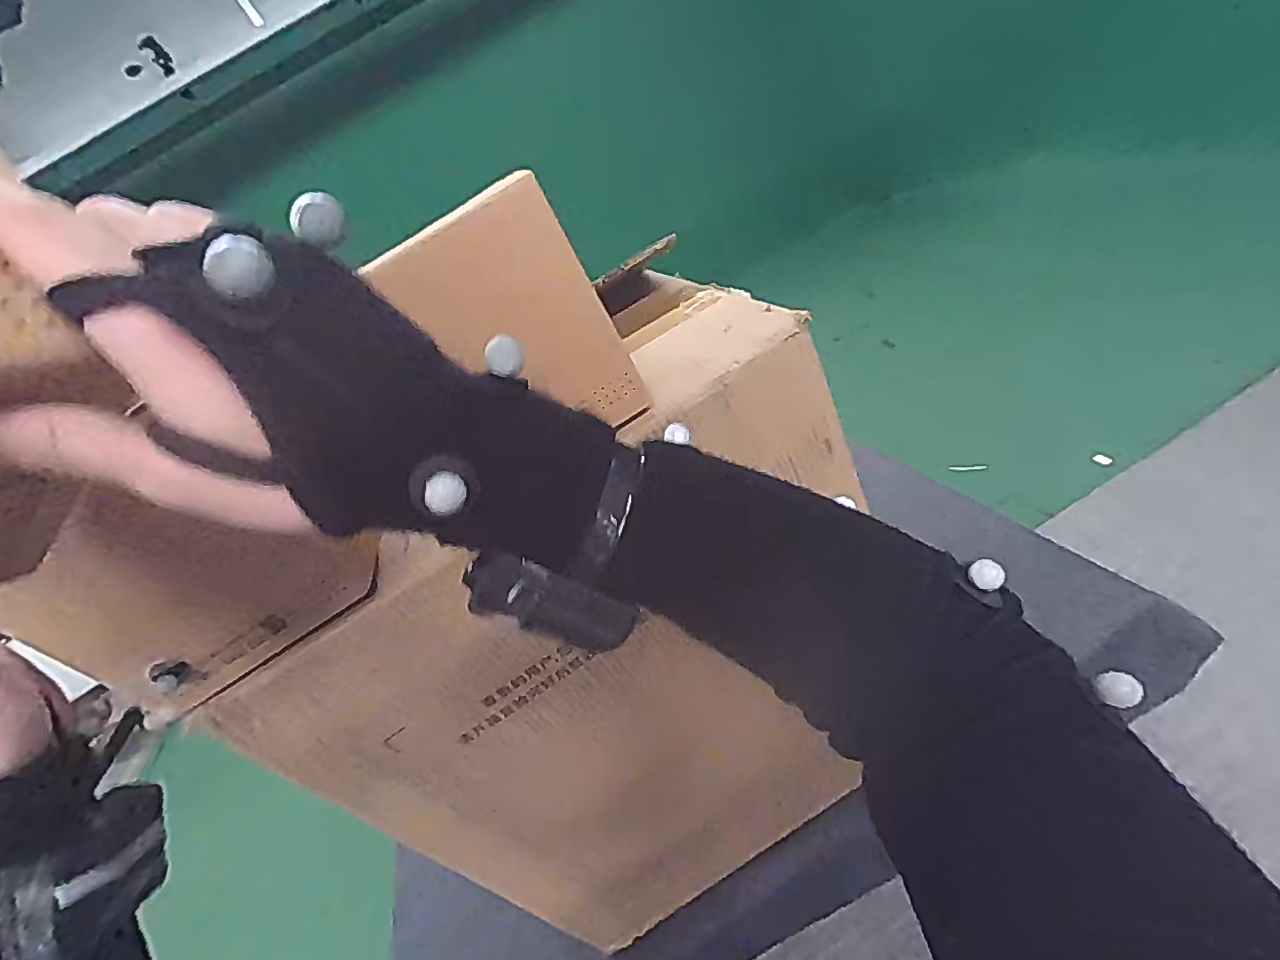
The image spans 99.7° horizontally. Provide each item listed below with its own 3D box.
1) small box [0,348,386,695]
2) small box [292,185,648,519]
[{"bbox_3d":[-0.321,0.031,0.409,0.168,0.176,0.179,-33,31,0],"label":"small box"},{"bbox_3d":[-0.119,-0.101,0.420,0.168,0.176,0.179,-34,33,-3],"label":"small box"}]
